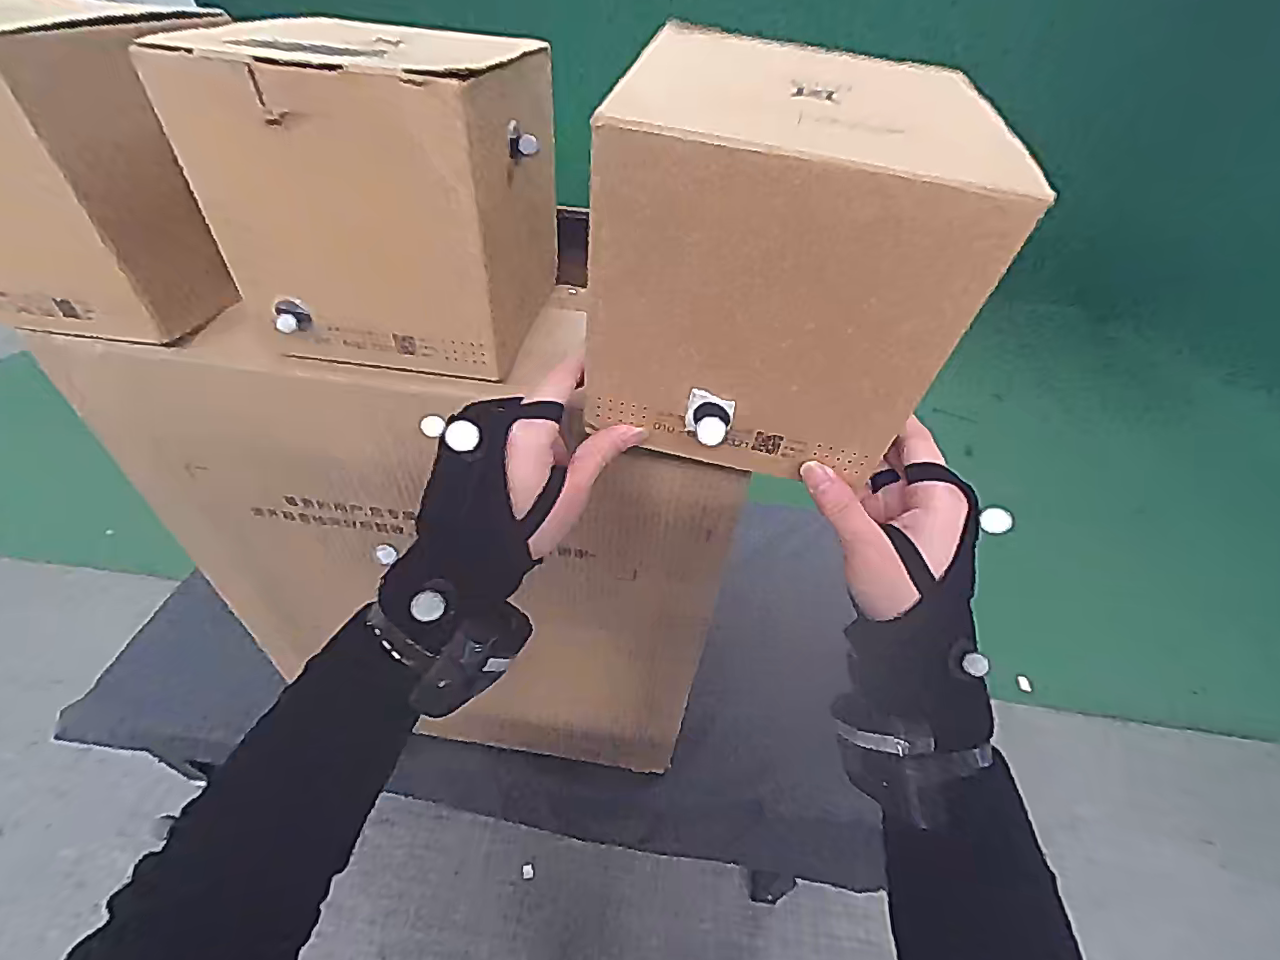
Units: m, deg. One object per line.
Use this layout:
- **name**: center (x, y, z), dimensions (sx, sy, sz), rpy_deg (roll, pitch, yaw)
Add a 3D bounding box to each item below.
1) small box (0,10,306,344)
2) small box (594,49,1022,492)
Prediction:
- **small box**: center (-0.378, -0.218, 0.385), dimensions (0.168, 0.176, 0.179), rpy_deg (7, 43, 6)
- **small box**: center (0.070, -0.121, 0.319), dimensions (0.168, 0.176, 0.179), rpy_deg (11, 48, 3)
